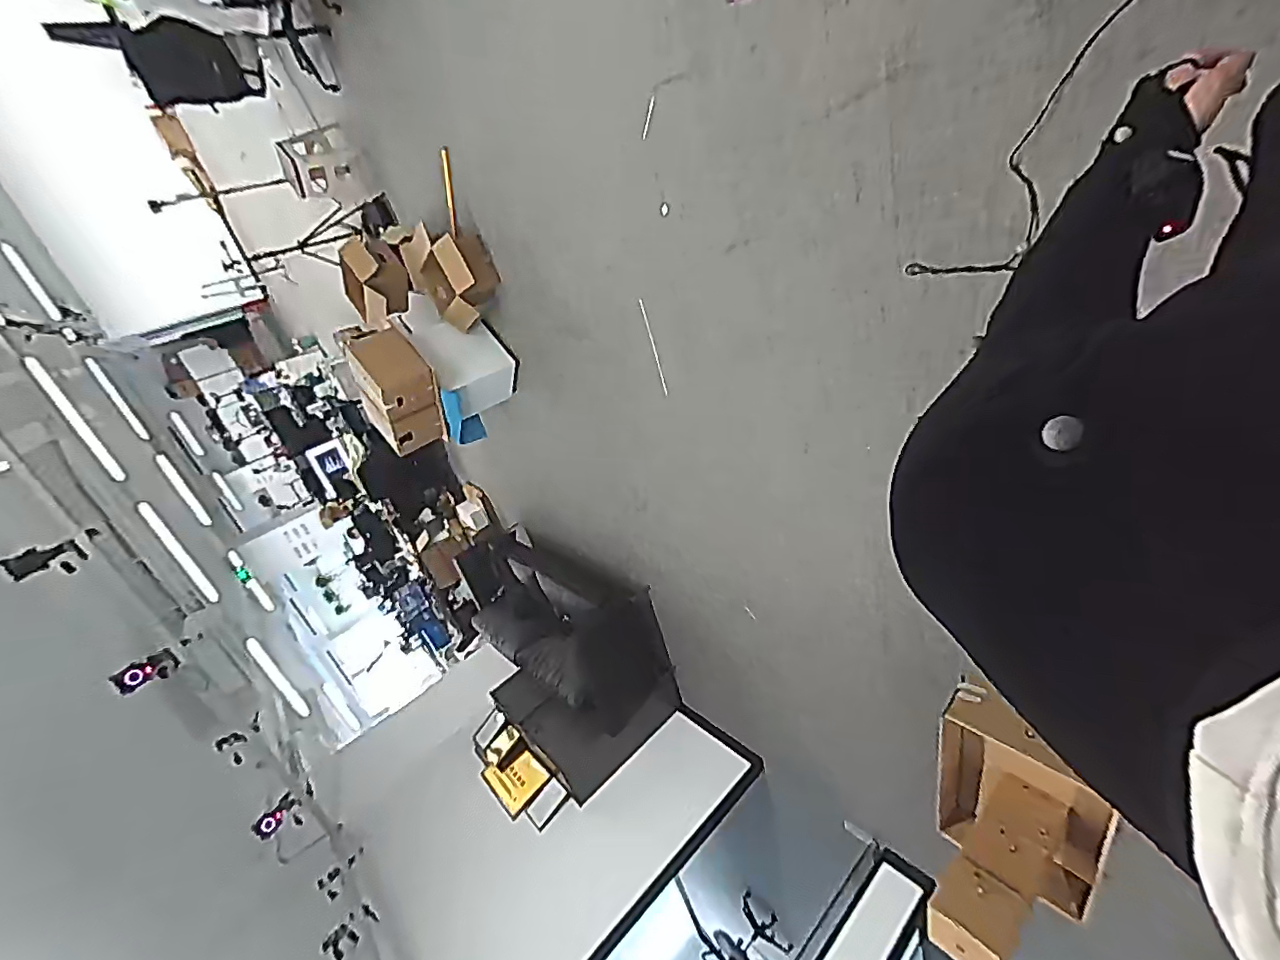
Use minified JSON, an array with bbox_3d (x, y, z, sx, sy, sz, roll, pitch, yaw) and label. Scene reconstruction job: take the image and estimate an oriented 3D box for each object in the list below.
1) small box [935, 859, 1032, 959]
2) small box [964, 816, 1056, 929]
[{"bbox_3d":[0.881,1.138,1.389,0.168,0.176,0.179,17,129,49],"label":"small box"},{"bbox_3d":[1.007,1.078,1.478,0.168,0.176,0.179,20,131,48],"label":"small box"}]
